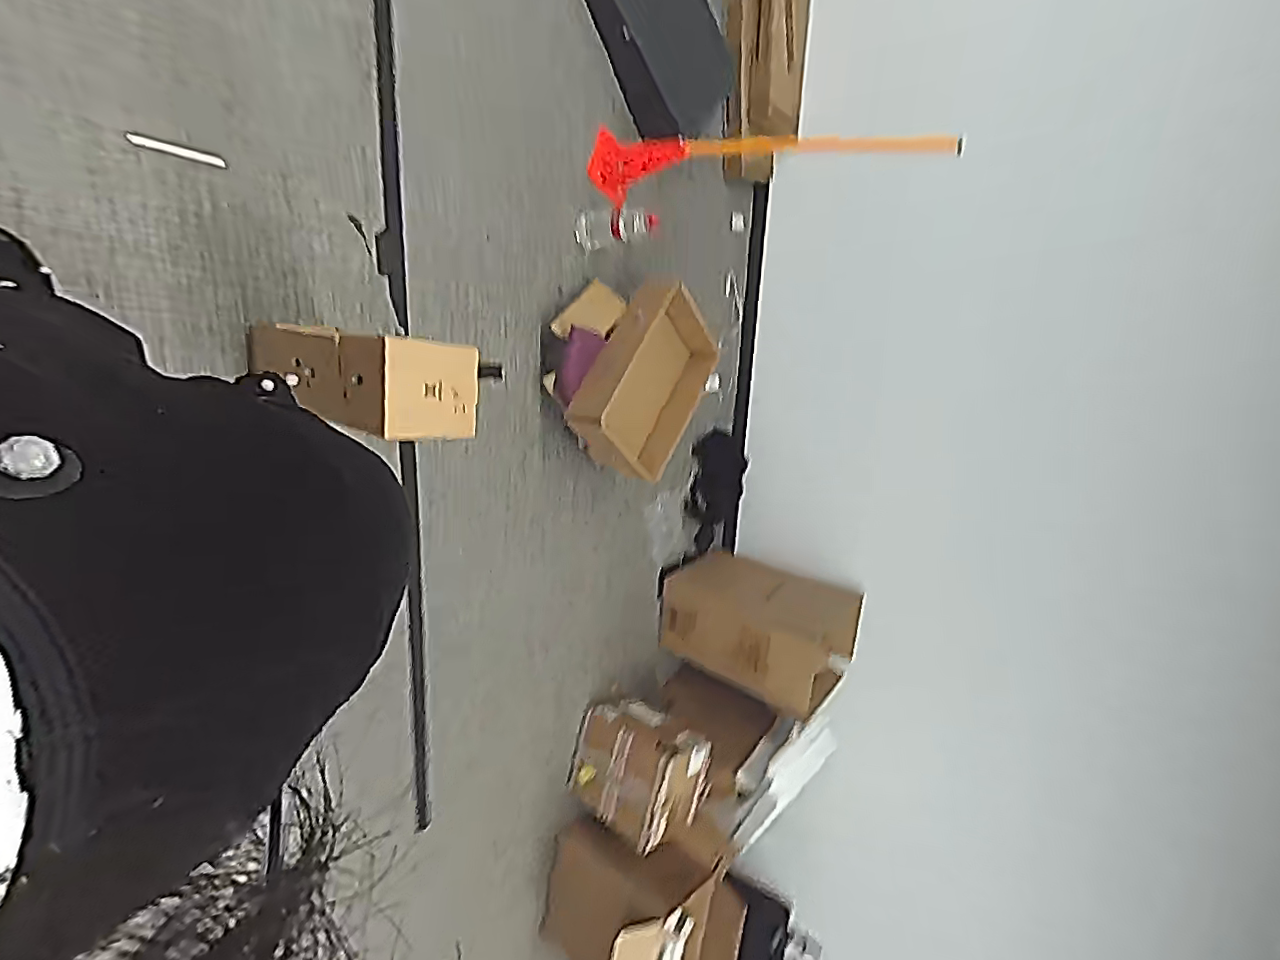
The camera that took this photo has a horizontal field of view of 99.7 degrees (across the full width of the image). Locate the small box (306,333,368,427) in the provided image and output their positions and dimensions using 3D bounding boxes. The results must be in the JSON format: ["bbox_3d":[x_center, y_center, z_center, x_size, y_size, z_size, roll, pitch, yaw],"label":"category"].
[{"bbox_3d":[-0.536,-0.203,1.081,0.179,0.176,0.168,-13,111,-48],"label":"small box"}]

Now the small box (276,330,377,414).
[{"bbox_3d":[-0.662,-0.238,1.182,0.179,0.176,0.168,-14,111,-49],"label":"small box"}]

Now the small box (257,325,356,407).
[{"bbox_3d":[-0.785,-0.270,1.285,0.168,0.176,0.179,-11,108,-49],"label":"small box"}]

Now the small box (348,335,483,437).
[{"bbox_3d":[-0.410,-0.169,0.981,0.179,0.176,0.168,-7,107,-50],"label":"small box"}]
